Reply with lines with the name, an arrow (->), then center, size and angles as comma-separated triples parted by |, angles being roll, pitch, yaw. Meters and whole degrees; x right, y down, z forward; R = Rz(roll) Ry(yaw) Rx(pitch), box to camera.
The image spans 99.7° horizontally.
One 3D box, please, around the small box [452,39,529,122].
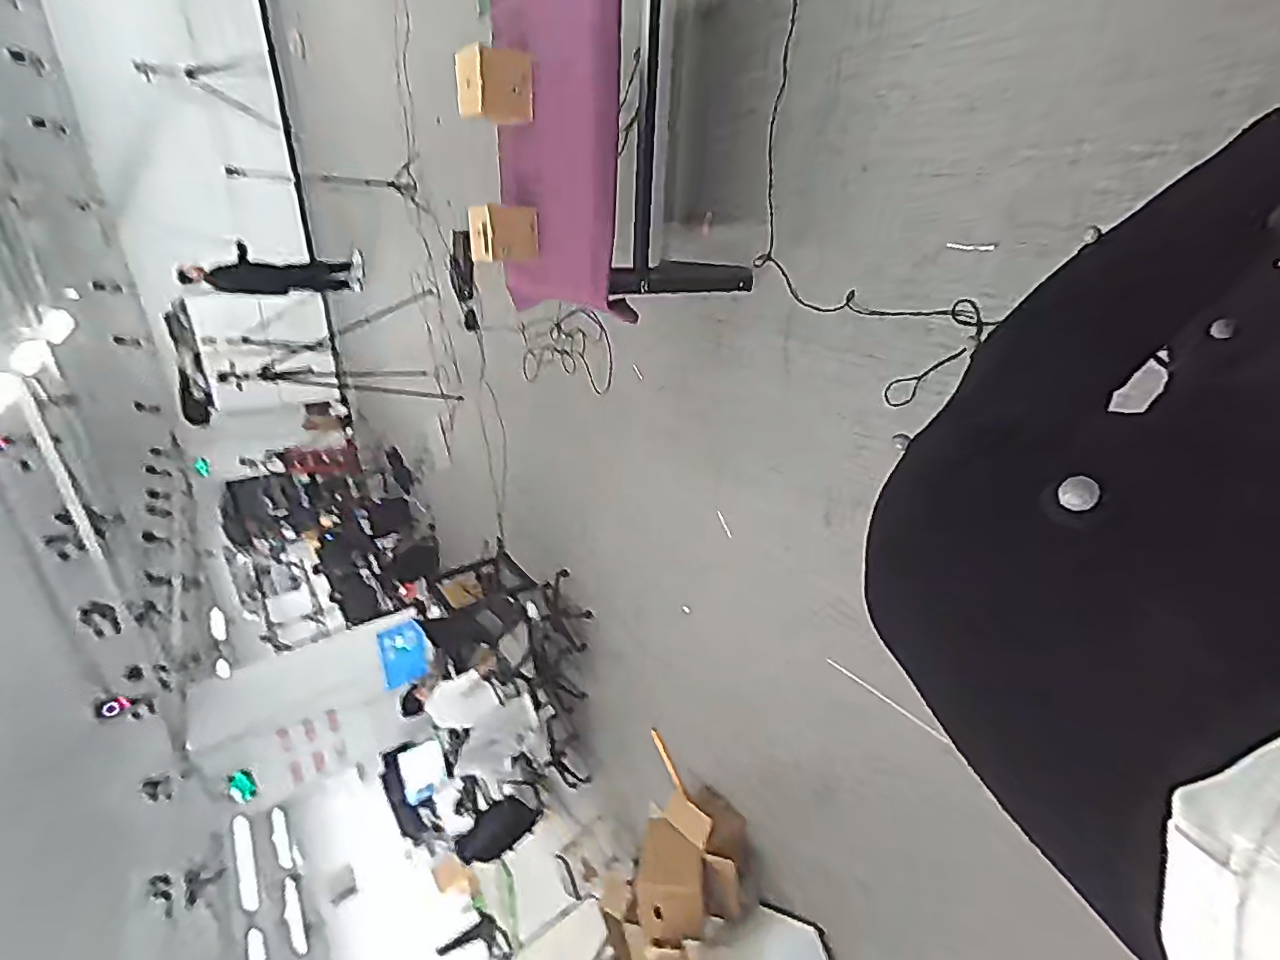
small box -> -0.449, -1.197, 1.632 | 0.179, 0.176, 0.168 | 30, 126, 43
